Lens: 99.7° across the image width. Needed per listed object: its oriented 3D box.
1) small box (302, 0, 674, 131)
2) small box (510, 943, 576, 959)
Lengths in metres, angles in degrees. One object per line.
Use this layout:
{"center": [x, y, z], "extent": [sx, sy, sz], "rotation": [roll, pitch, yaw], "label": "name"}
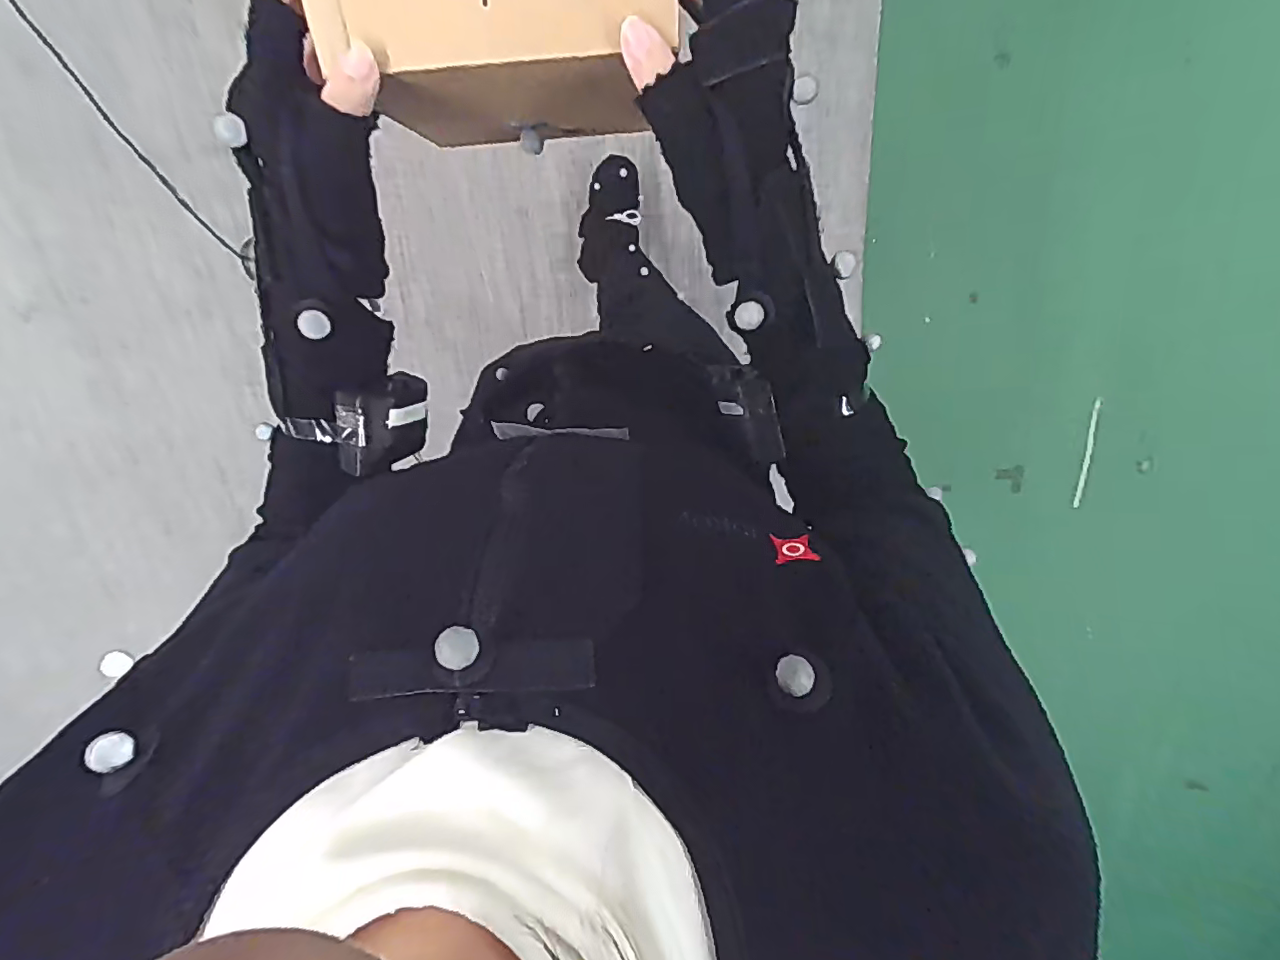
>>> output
{"center": [-0.072, -0.308, 0.285], "extent": [0.168, 0.176, 0.179], "rotation": [-3, 113, 1], "label": "small box"}
{"center": [-0.245, 1.286, 1.326], "extent": [0.168, 0.176, 0.179], "rotation": [3, 109, -5], "label": "small box"}
